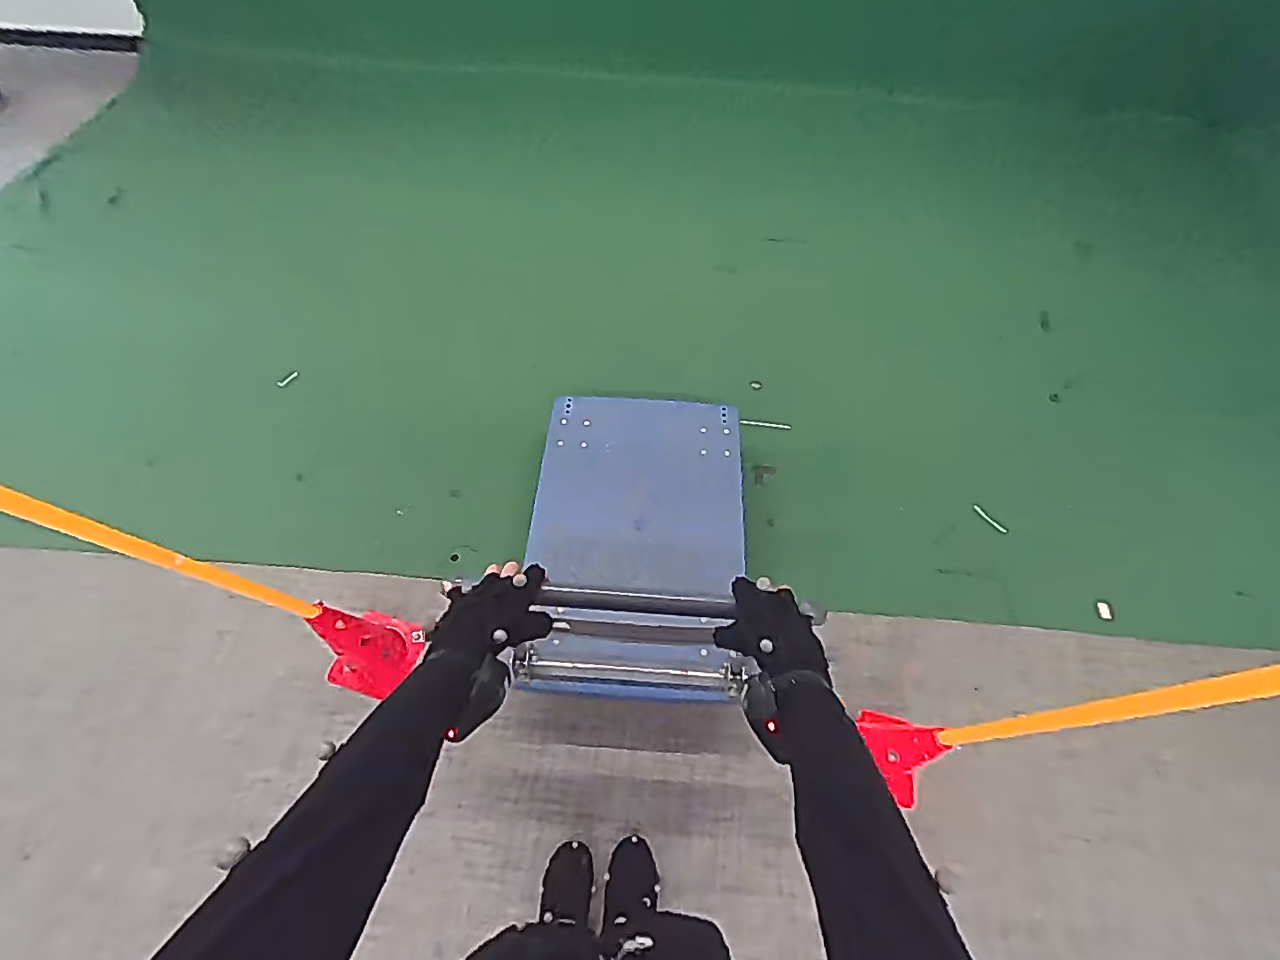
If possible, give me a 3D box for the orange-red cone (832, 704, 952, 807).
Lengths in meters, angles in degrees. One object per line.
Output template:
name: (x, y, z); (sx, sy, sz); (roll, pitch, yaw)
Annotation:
orange-red cone: (0.581, 0.585, 1.188); (0.198, 0.360, 0.199); (14, 60, 7)
